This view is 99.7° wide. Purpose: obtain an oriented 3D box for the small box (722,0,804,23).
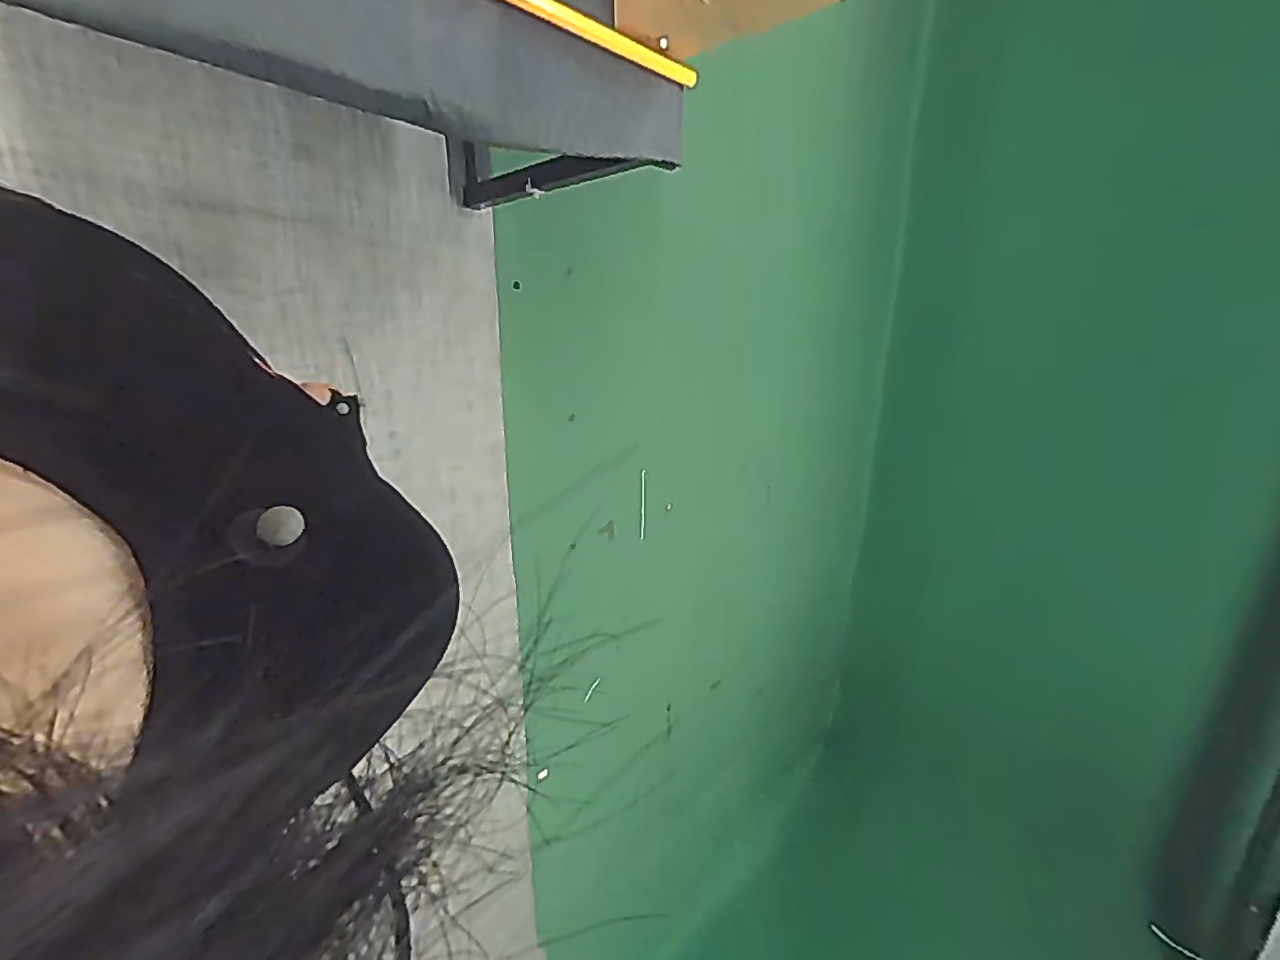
[{"bbox_3d":[0.189,-0.805,0.772,0.179,0.176,0.168,-10,110,-46],"label":"small box"}]
